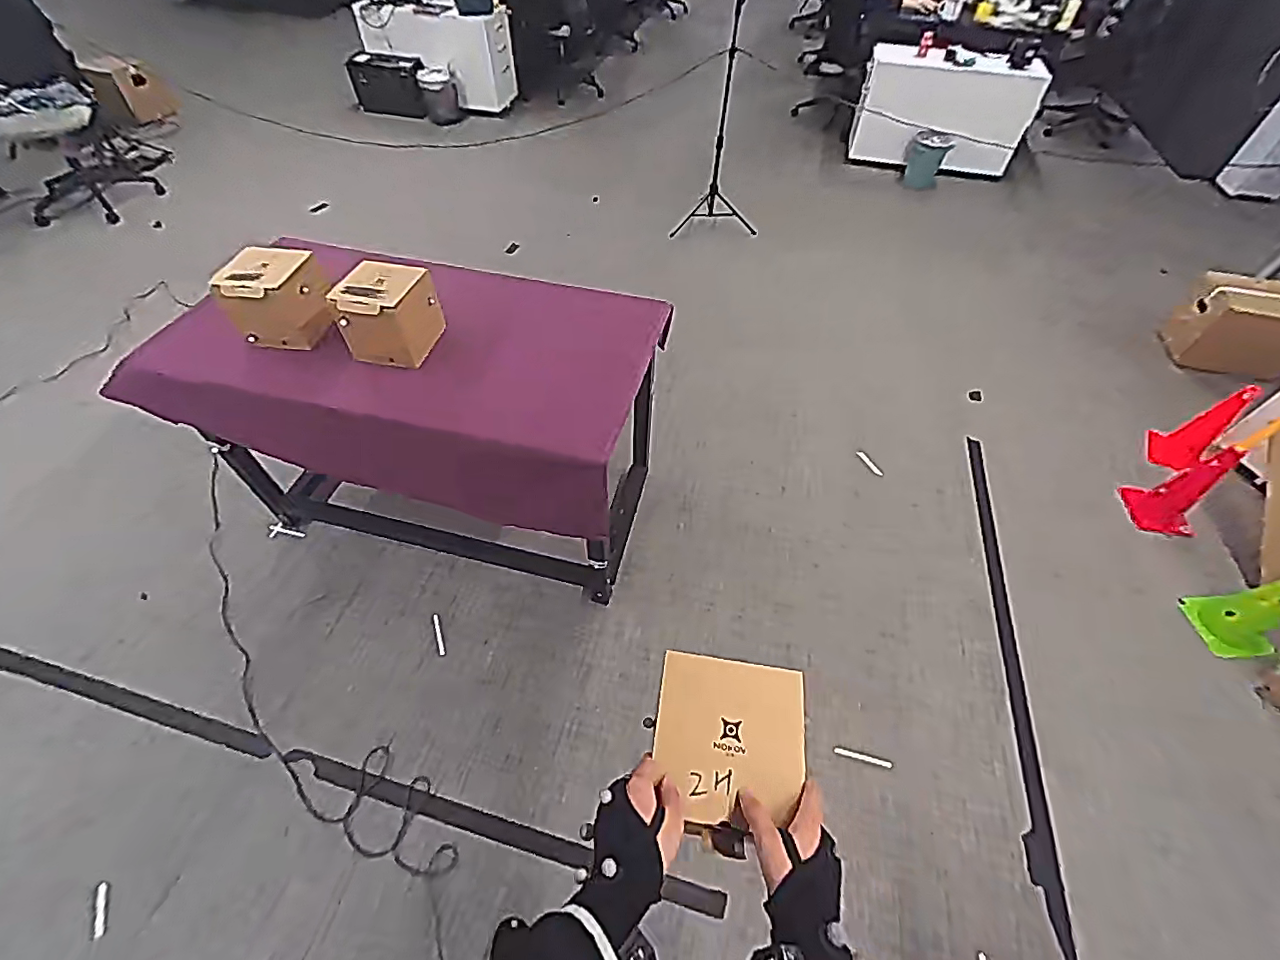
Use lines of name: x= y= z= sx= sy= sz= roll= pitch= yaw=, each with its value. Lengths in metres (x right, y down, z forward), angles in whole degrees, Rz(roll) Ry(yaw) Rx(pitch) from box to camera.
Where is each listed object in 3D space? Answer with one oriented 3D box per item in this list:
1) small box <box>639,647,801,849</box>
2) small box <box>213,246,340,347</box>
small box: x=0.091 y=0.327 z=0.655 sx=0.168 sy=0.176 sz=0.179 roll=8 pitch=55 yaw=5
small box: x=-0.871 y=-0.445 z=1.320 sx=0.168 sy=0.176 sz=0.179 roll=5 pitch=51 yaw=2
